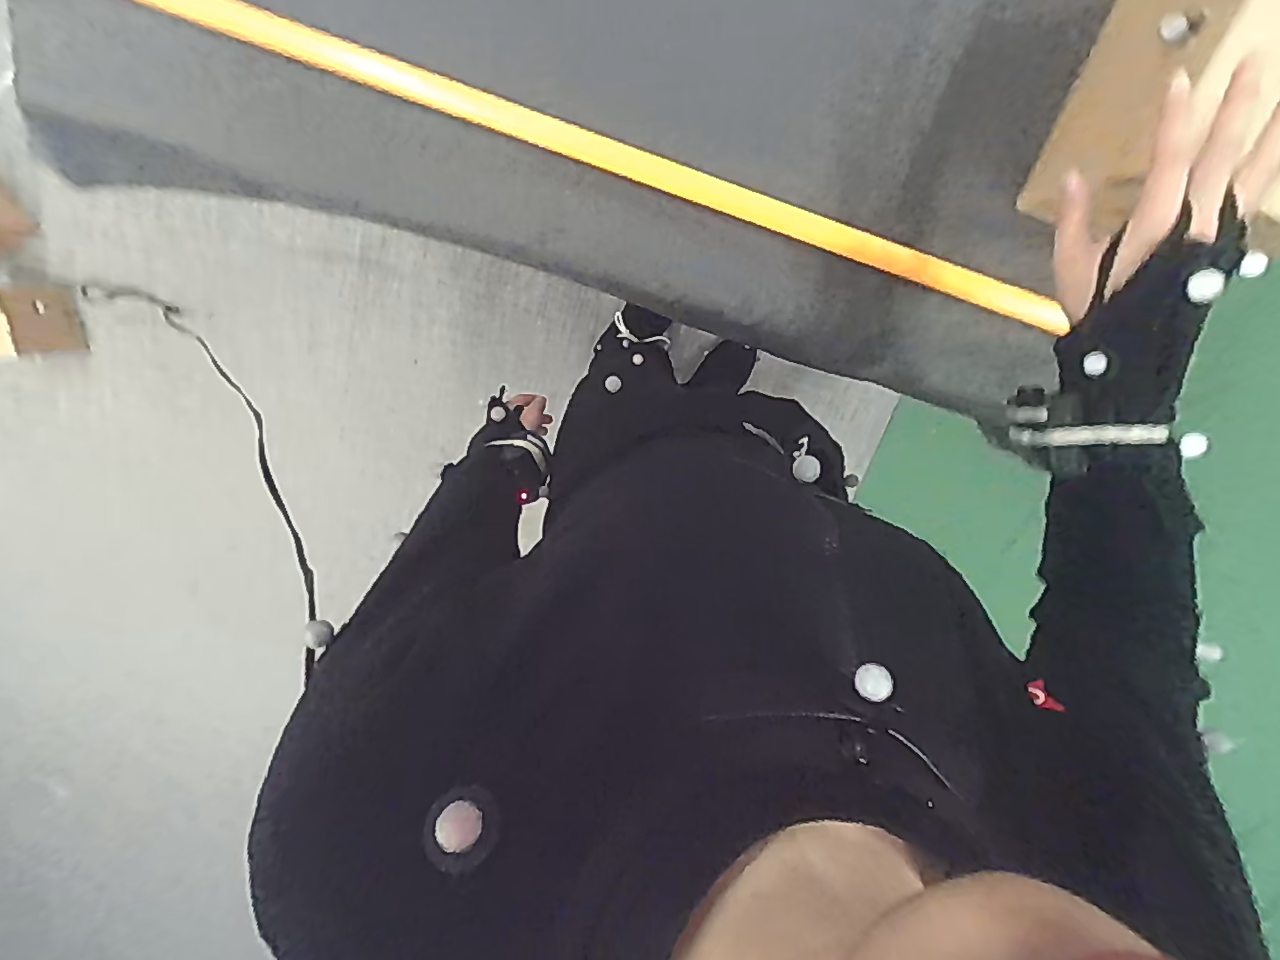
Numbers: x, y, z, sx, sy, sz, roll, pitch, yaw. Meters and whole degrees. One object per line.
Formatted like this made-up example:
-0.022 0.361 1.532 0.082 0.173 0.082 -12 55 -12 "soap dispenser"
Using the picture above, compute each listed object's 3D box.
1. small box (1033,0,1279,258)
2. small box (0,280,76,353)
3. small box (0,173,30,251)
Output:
0.446 -0.281 0.405 0.168 0.176 0.179 19 109 1 "small box"
-1.579 -0.413 1.352 0.179 0.176 0.168 3 108 6 "small box"
-1.628 -0.651 1.274 0.179 0.176 0.168 -27 103 13 "small box"
